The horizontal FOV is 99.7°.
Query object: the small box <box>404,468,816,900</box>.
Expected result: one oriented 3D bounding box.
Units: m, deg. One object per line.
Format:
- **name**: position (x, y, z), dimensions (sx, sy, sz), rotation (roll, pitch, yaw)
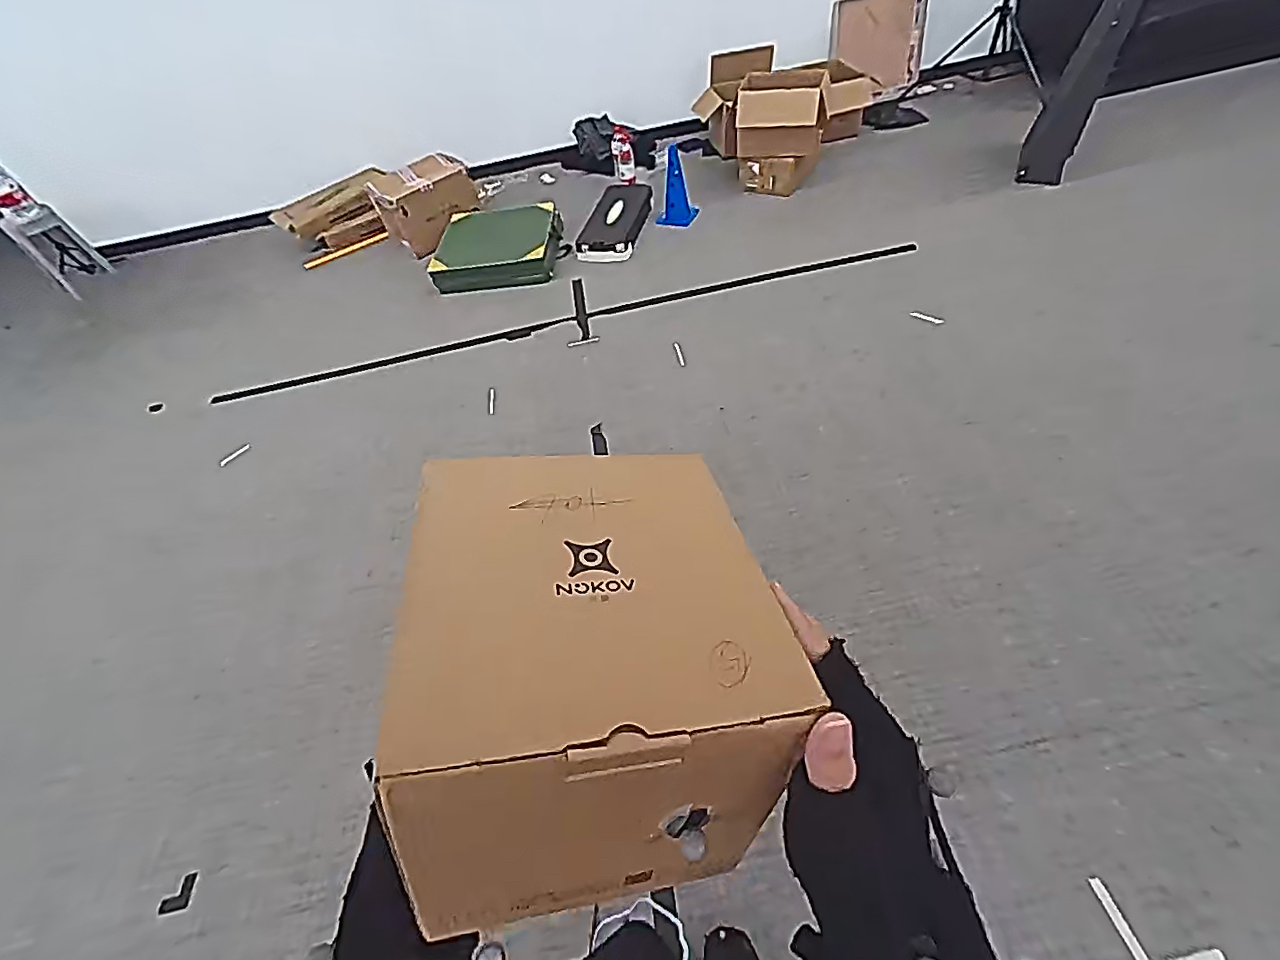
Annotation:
- **small box**: position (-0.030, 0.112, 0.317), dimensions (0.168, 0.176, 0.179), rotation (-1, 37, -14)
